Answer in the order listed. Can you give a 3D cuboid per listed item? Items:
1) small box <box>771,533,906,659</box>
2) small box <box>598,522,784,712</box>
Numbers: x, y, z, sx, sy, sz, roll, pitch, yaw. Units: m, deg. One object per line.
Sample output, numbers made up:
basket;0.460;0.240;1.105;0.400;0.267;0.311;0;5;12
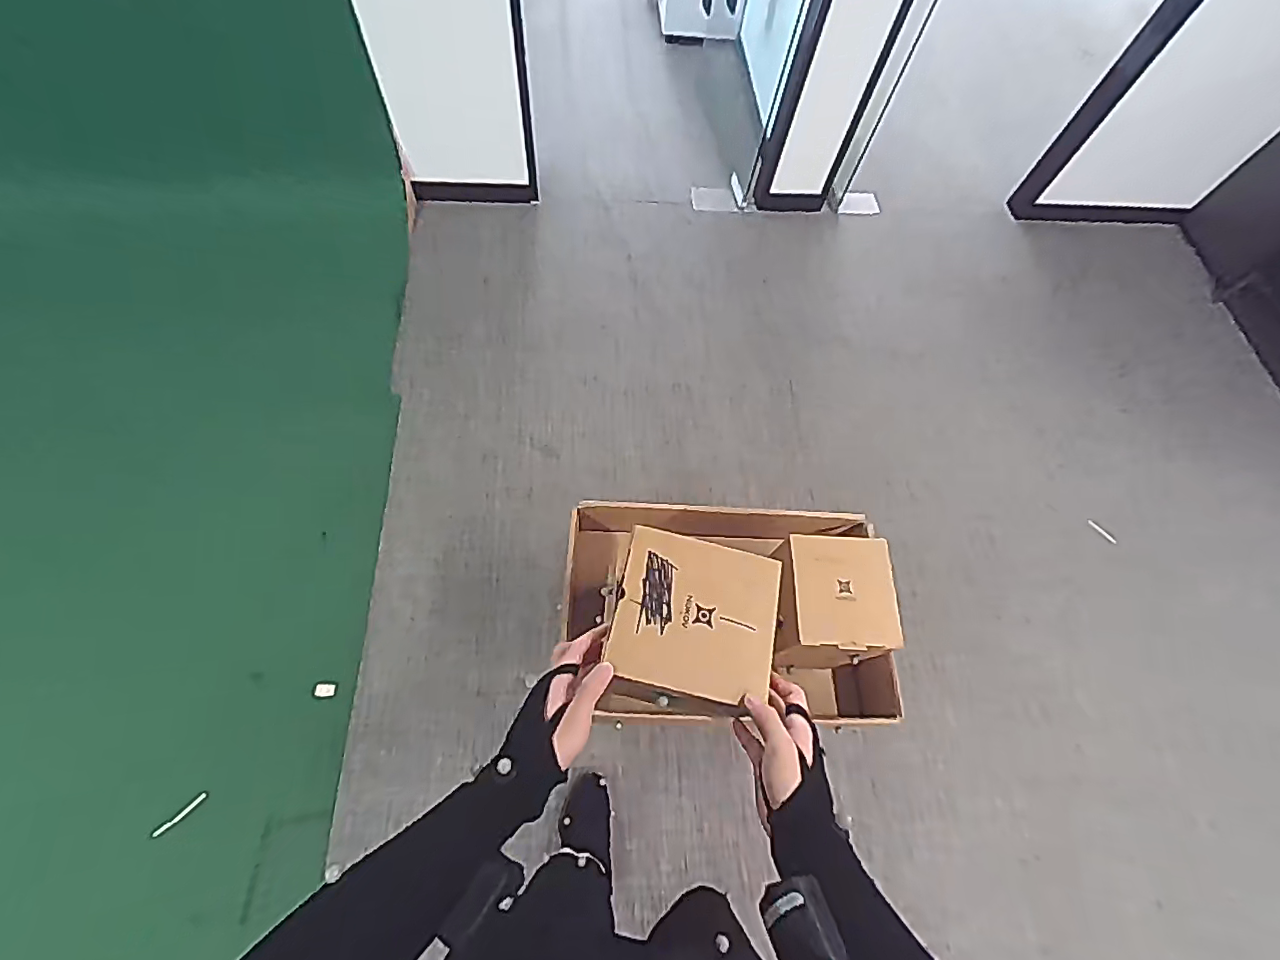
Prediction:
small box;0.315;0.203;0.912;0.168;0.176;0.179;4;65;-4
small box;0.053;0.173;0.650;0.179;0.176;0.168;15;63;-1
